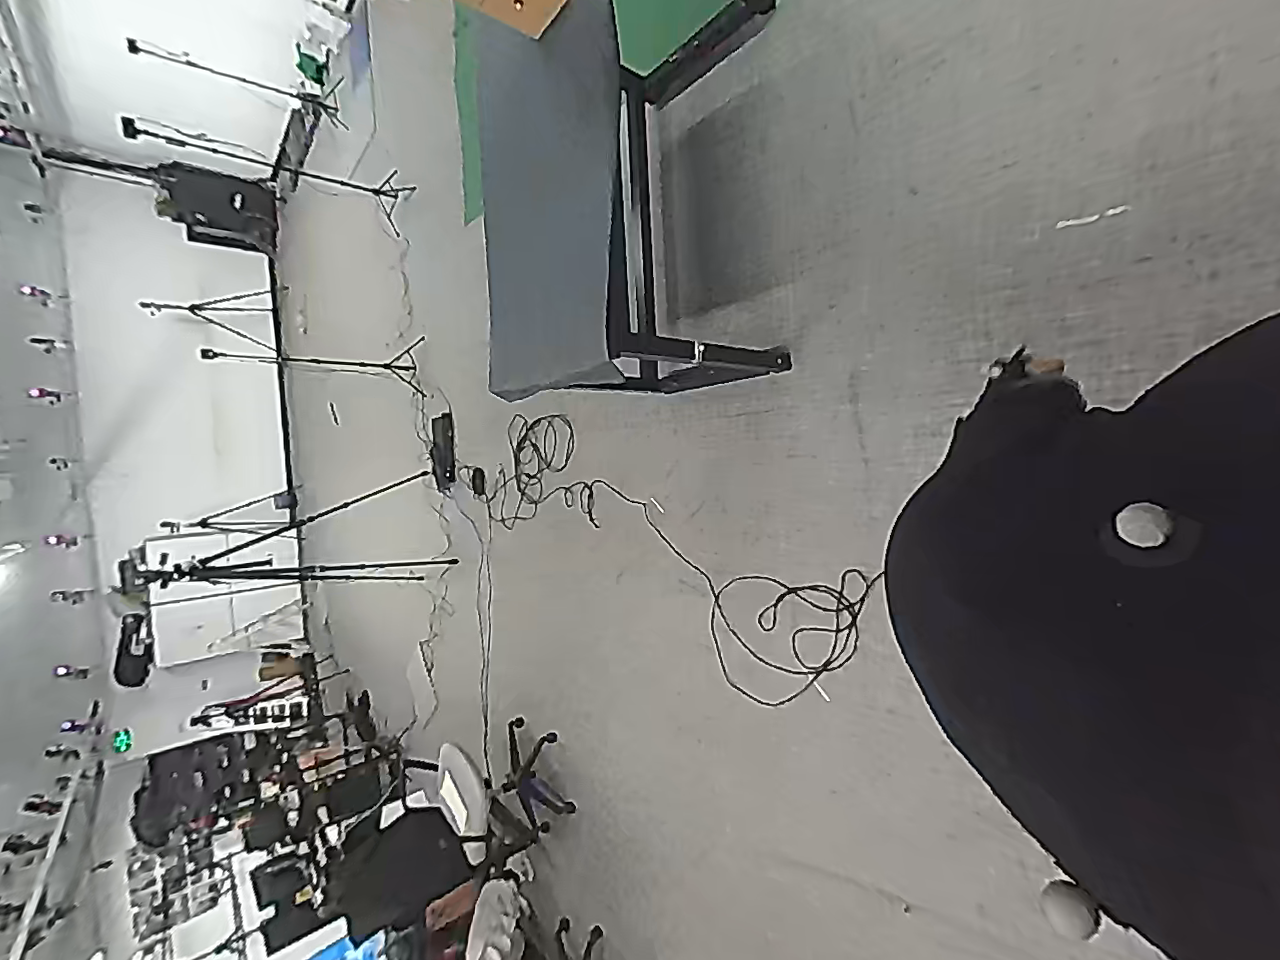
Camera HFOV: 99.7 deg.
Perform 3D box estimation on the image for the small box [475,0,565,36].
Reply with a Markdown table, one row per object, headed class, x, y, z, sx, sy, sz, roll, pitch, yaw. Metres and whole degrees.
| class | x | y | z | sx | sy | sz | roll | pitch | yaw |
| --- | --- | --- | --- | --- | --- | --- | --- | --- | --- |
| small box | -0.277 | -1.196 | 1.254 | 0.179 | 0.176 | 0.168 | 0 | 95 | 52 |
